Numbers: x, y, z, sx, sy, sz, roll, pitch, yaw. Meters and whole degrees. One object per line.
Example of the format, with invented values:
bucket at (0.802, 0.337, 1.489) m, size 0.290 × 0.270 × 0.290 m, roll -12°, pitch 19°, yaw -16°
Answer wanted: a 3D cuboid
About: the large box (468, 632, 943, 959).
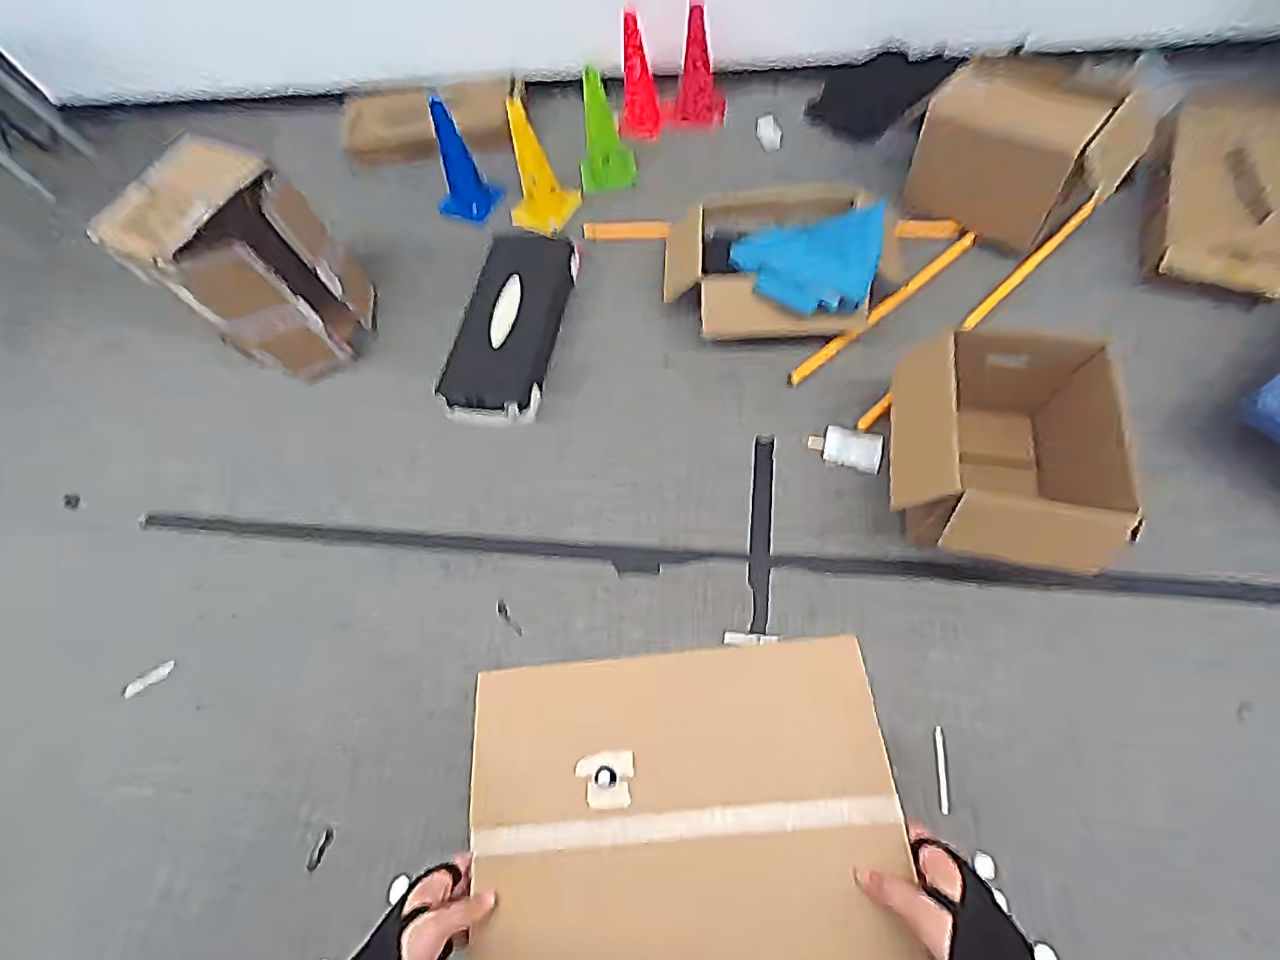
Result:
large box at (0.058, 0.379, 0.628) m, size 0.408 × 0.320 × 0.320 m, roll -8°, pitch 64°, yaw 5°
